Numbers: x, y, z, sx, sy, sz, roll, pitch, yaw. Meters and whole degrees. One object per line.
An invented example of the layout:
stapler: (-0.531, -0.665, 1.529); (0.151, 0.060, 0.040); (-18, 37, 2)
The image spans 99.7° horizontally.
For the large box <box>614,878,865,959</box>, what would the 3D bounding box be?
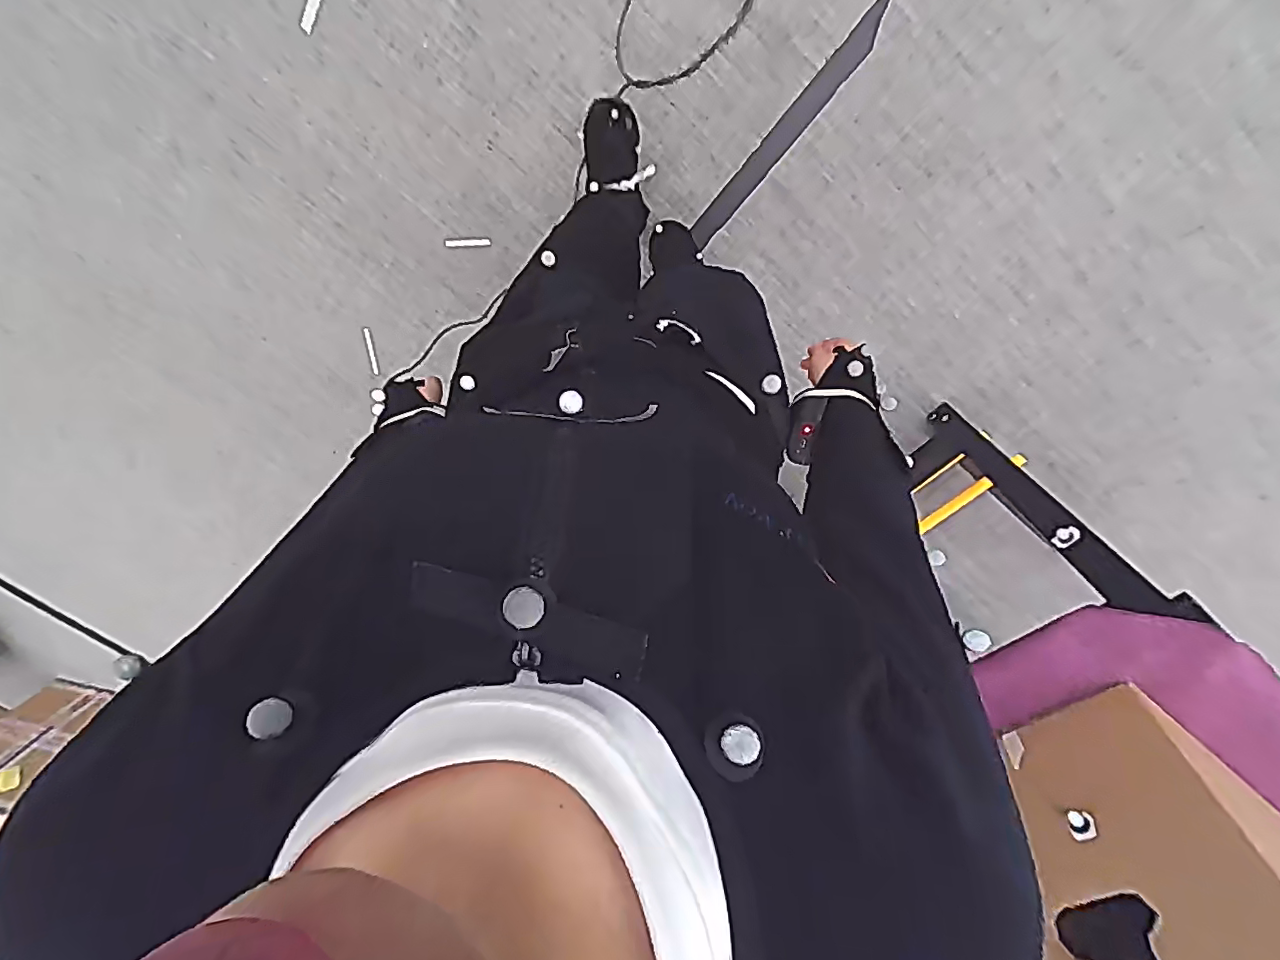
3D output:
large box: (0.184, 0.984, 0.938); (0.408, 0.320, 0.320); (38, 116, -13)
